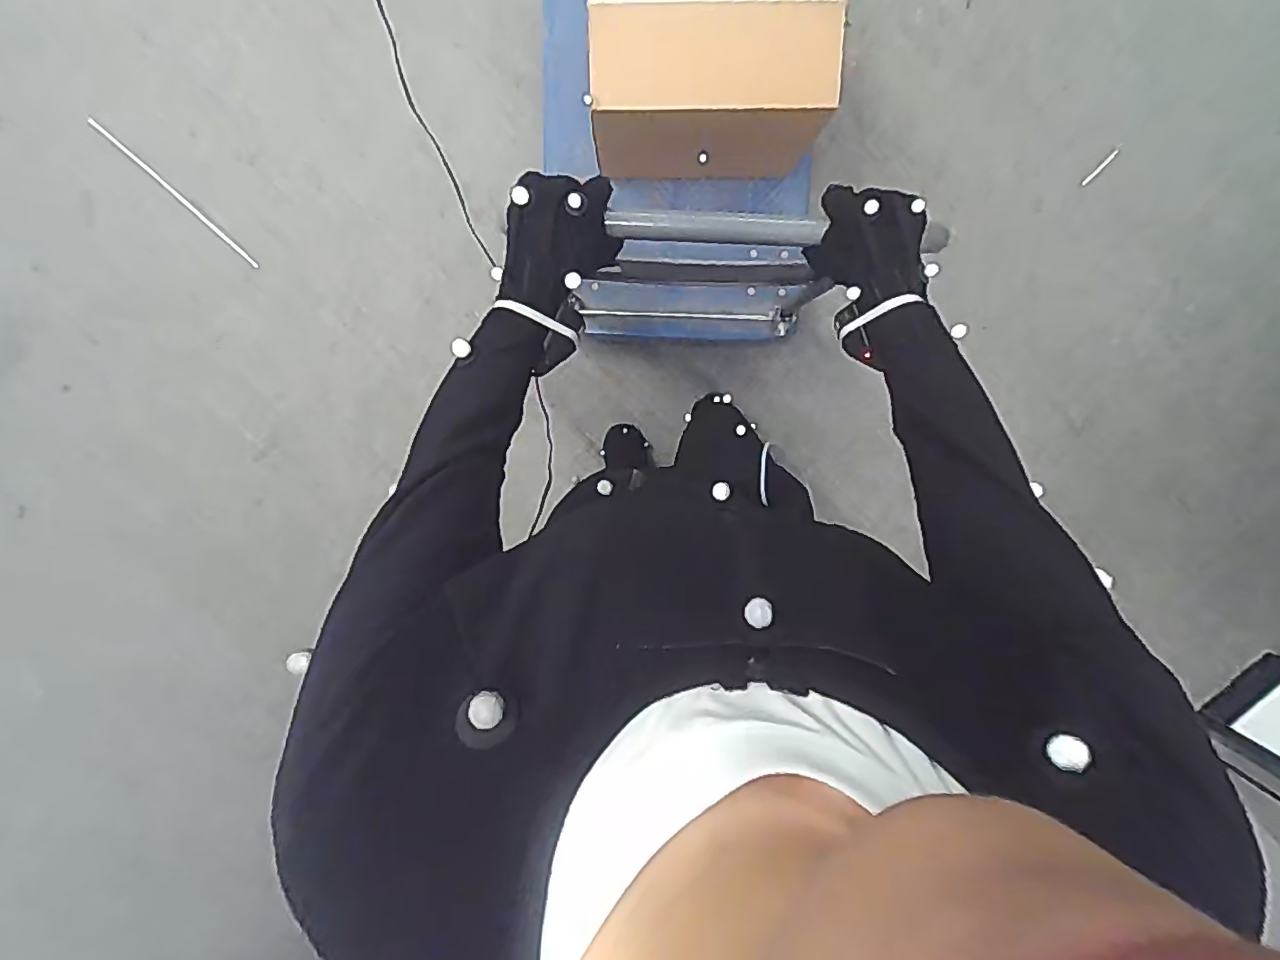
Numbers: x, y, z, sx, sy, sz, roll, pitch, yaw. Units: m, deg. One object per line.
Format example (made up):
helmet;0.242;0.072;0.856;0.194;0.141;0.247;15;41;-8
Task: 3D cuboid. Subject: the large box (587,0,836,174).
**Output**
large box;0.115;-0.791;1.004;0.408;0.320;0.320;-1;100;0
